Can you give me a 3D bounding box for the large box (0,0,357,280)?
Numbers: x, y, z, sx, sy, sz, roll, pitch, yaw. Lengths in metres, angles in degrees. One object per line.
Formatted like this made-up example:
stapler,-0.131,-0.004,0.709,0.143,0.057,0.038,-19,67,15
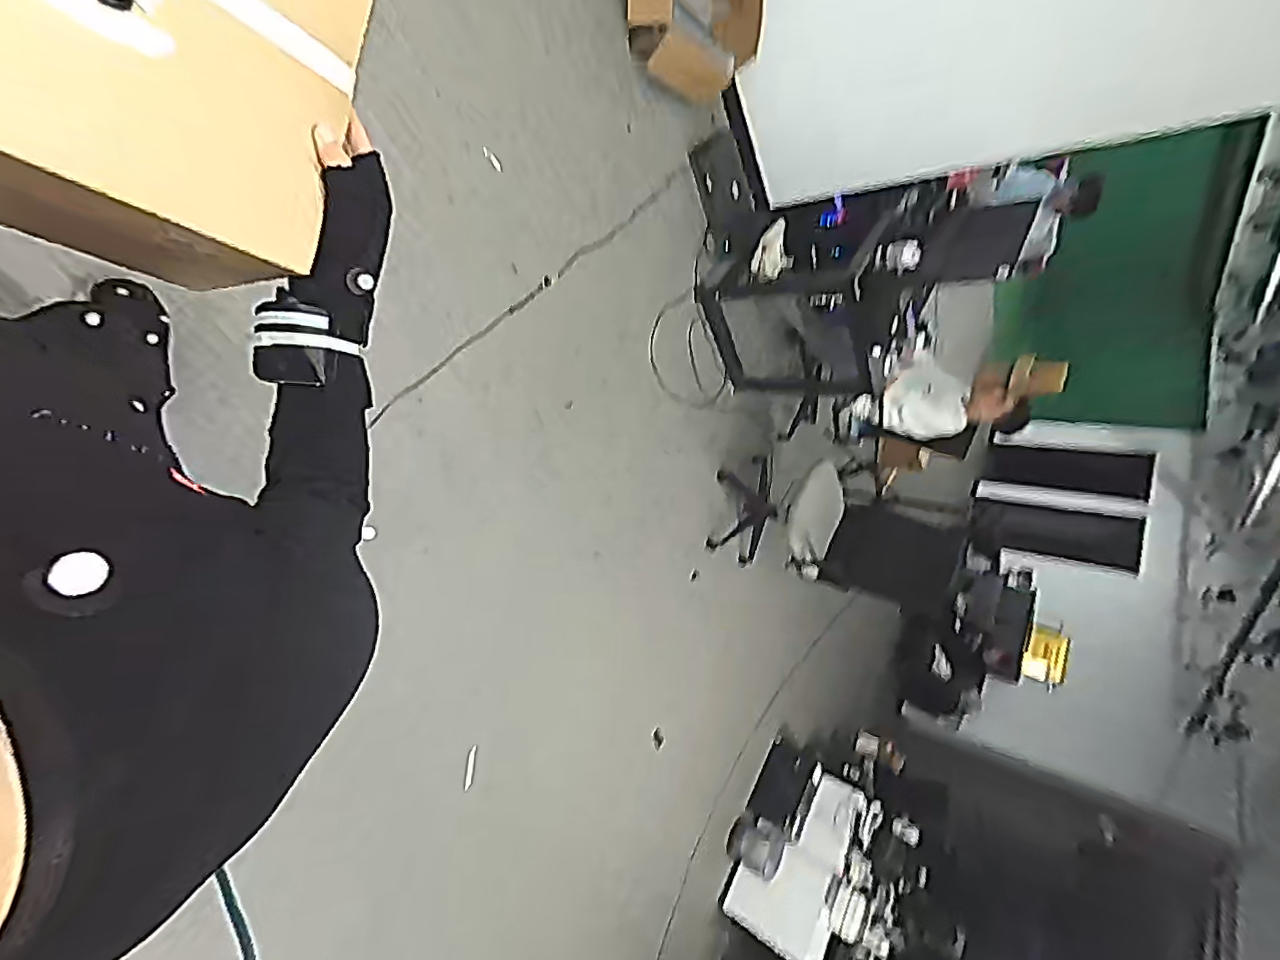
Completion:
large box,-0.479,-0.375,0.373,0.408,0.320,0.320,12,90,-53
